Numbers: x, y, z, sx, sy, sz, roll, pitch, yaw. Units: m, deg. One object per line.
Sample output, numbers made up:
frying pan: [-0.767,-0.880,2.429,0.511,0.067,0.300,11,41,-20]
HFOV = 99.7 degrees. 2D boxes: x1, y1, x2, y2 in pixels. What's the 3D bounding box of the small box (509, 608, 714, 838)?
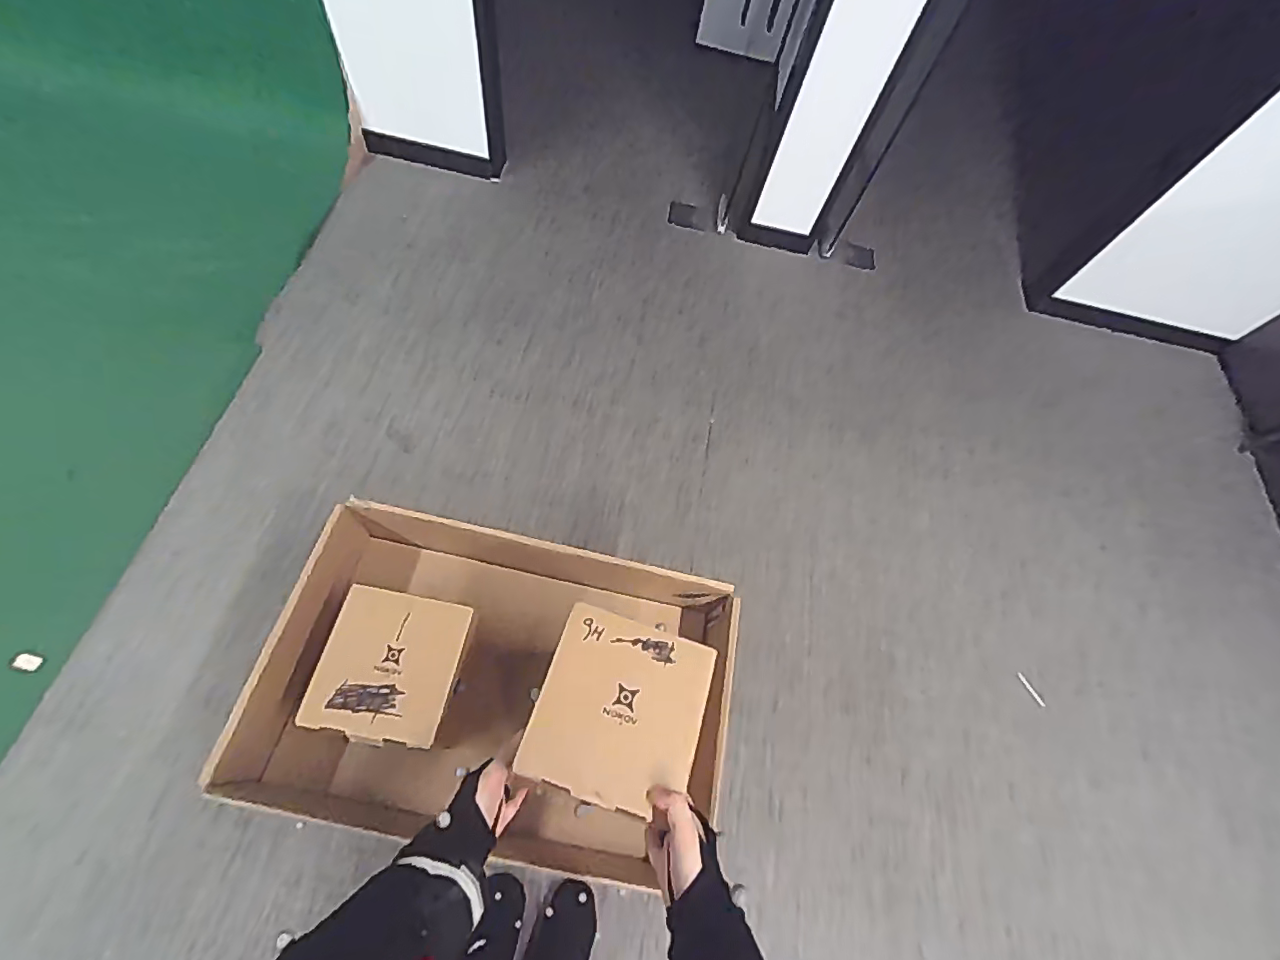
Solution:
small box: [-0.030,0.275,0.614,0.168,0.176,0.179,19,59,3]
